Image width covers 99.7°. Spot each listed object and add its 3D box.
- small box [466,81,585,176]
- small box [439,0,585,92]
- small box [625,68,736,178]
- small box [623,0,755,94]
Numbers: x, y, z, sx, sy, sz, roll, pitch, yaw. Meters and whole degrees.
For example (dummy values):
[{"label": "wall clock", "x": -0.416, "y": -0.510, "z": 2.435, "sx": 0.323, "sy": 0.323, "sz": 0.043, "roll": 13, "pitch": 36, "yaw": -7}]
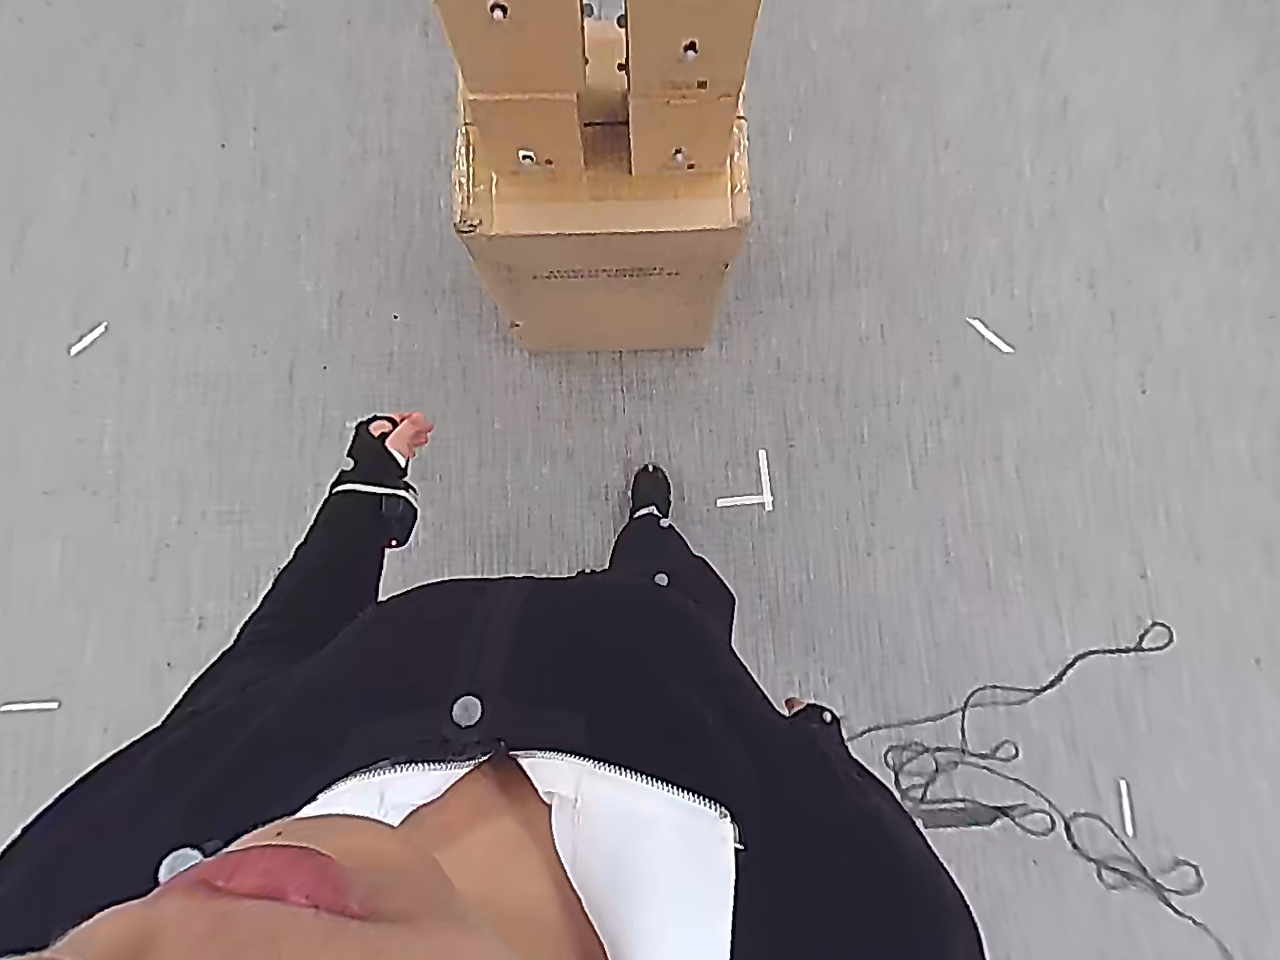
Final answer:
[{"label": "small box", "x": -0.180, "y": -0.635, "z": 0.886, "sx": 0.168, "sy": 0.176, "sz": 0.179, "roll": -3, "pitch": 85, "yaw": -1}, {"label": "small box", "x": -0.169, "y": -0.659, "z": 0.724, "sx": 0.179, "sy": 0.176, "sz": 0.168, "roll": -2, "pitch": 84, "yaw": -2}, {"label": "small box", "x": 0.059, "y": -0.631, "z": 0.886, "sx": 0.168, "sy": 0.176, "sz": 0.179, "roll": -3, "pitch": 84, "yaw": 1}, {"label": "small box", "x": 0.061, "y": -0.654, "z": 0.722, "sx": 0.168, "sy": 0.176, "sz": 0.179, "roll": -1, "pitch": 85, "yaw": -1}]
